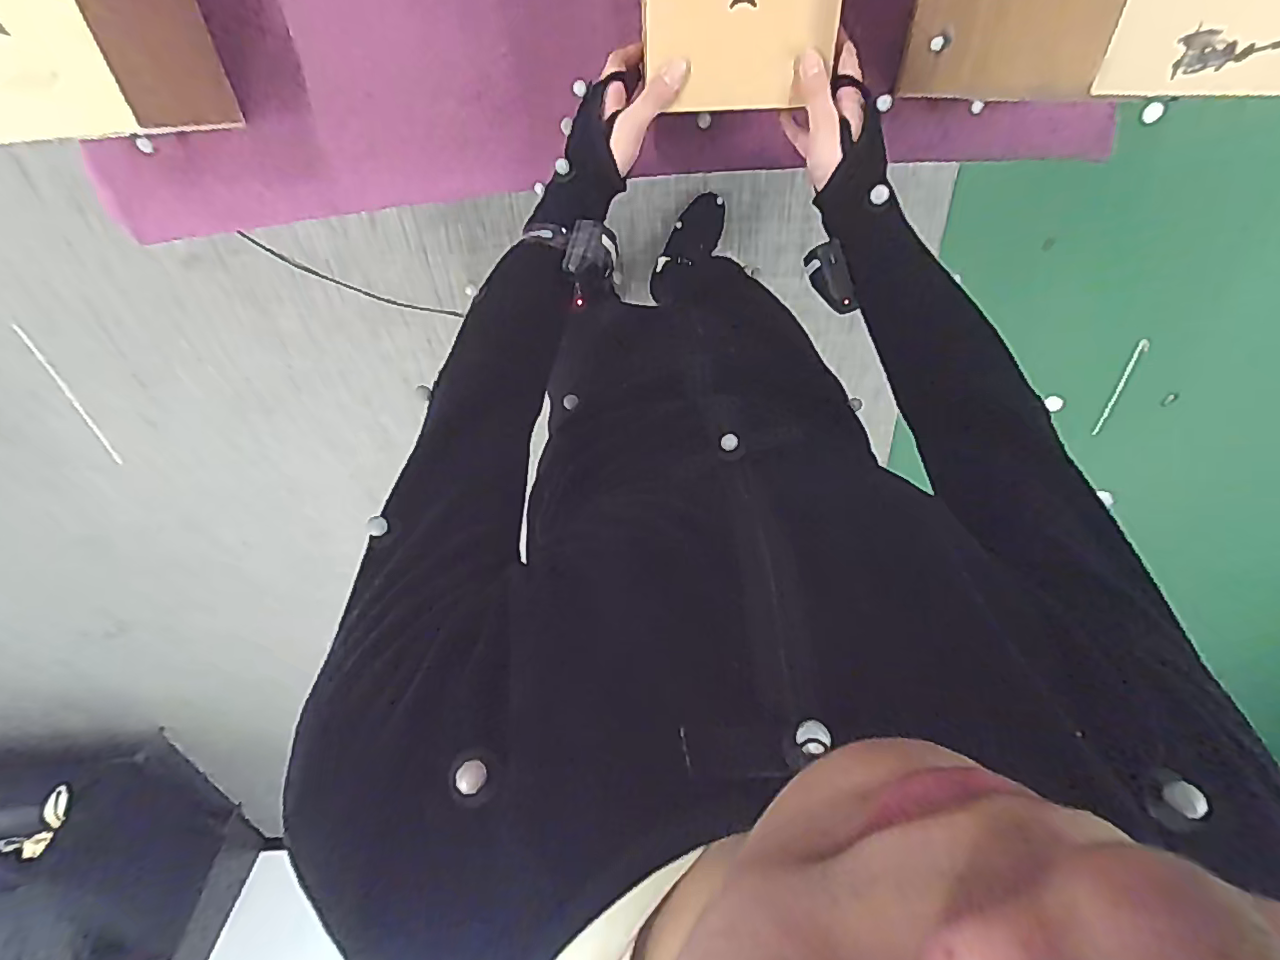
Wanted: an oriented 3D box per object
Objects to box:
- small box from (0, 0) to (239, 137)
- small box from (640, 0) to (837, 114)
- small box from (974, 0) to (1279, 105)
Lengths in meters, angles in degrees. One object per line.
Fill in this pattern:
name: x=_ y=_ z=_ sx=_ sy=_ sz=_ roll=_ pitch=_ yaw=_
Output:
small box: x=-0.543 y=-0.435 z=0.515 sx=0.168 sy=0.176 sz=0.179 roll=-3 pitch=125 yaw=2
small box: x=0.084 y=-0.454 z=0.509 sx=0.168 sy=0.176 sz=0.179 roll=-1 pitch=124 yaw=2
small box: x=0.368 y=-0.365 z=0.367 sx=0.168 sy=0.176 sz=0.179 roll=1 pitch=124 yaw=1
